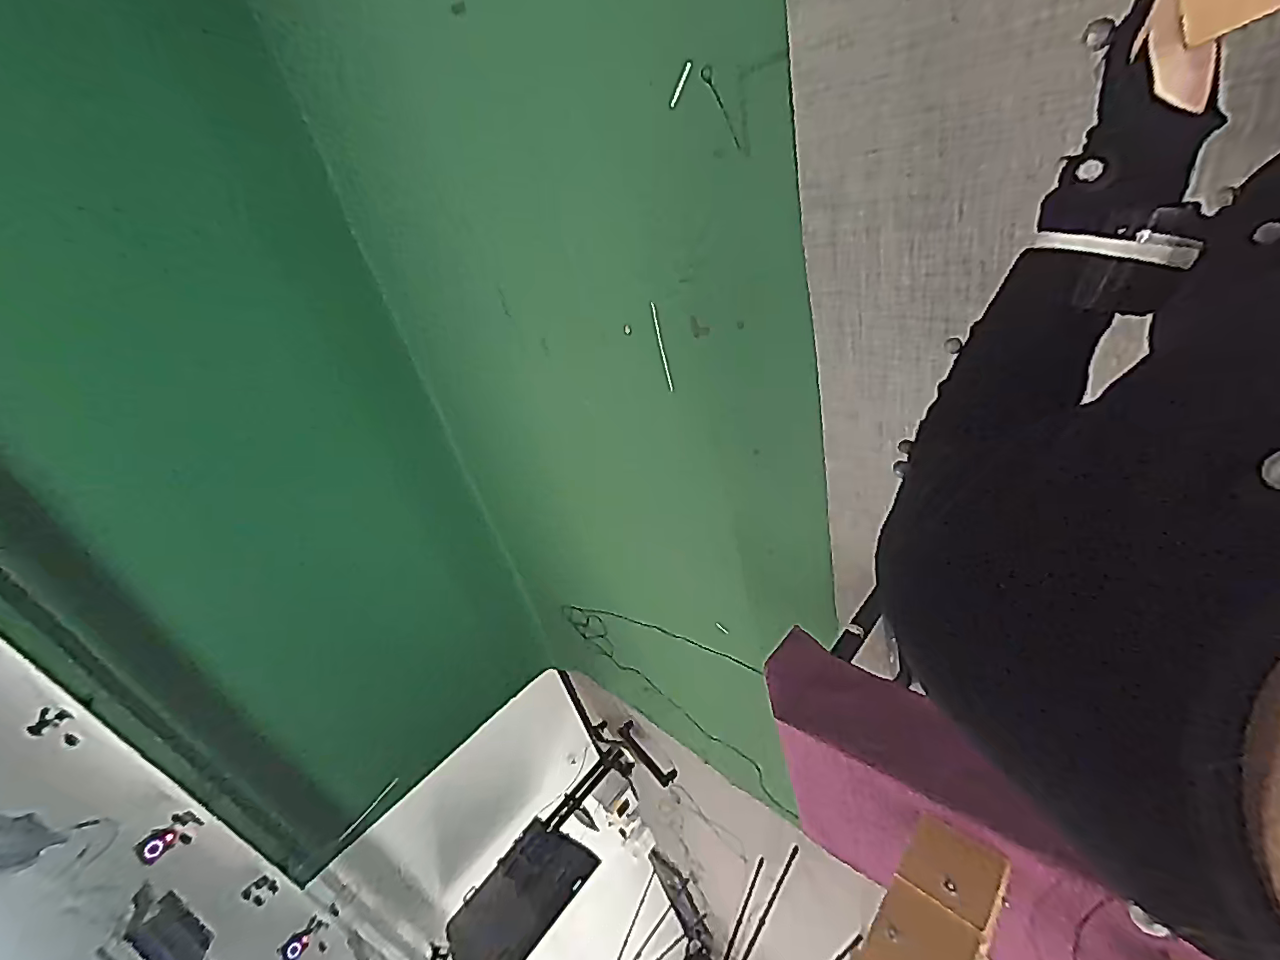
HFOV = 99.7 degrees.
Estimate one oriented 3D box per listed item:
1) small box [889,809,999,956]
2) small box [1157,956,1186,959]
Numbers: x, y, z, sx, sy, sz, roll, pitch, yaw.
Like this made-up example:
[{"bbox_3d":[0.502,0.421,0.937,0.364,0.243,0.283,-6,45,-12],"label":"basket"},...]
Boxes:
[{"bbox_3d":[0.682,0.891,1.214,0.179,0.176,0.168,15,132,44],"label":"small box"},{"bbox_3d":[0.977,0.969,0.920,0.179,0.176,0.168,13,131,46],"label":"small box"}]
